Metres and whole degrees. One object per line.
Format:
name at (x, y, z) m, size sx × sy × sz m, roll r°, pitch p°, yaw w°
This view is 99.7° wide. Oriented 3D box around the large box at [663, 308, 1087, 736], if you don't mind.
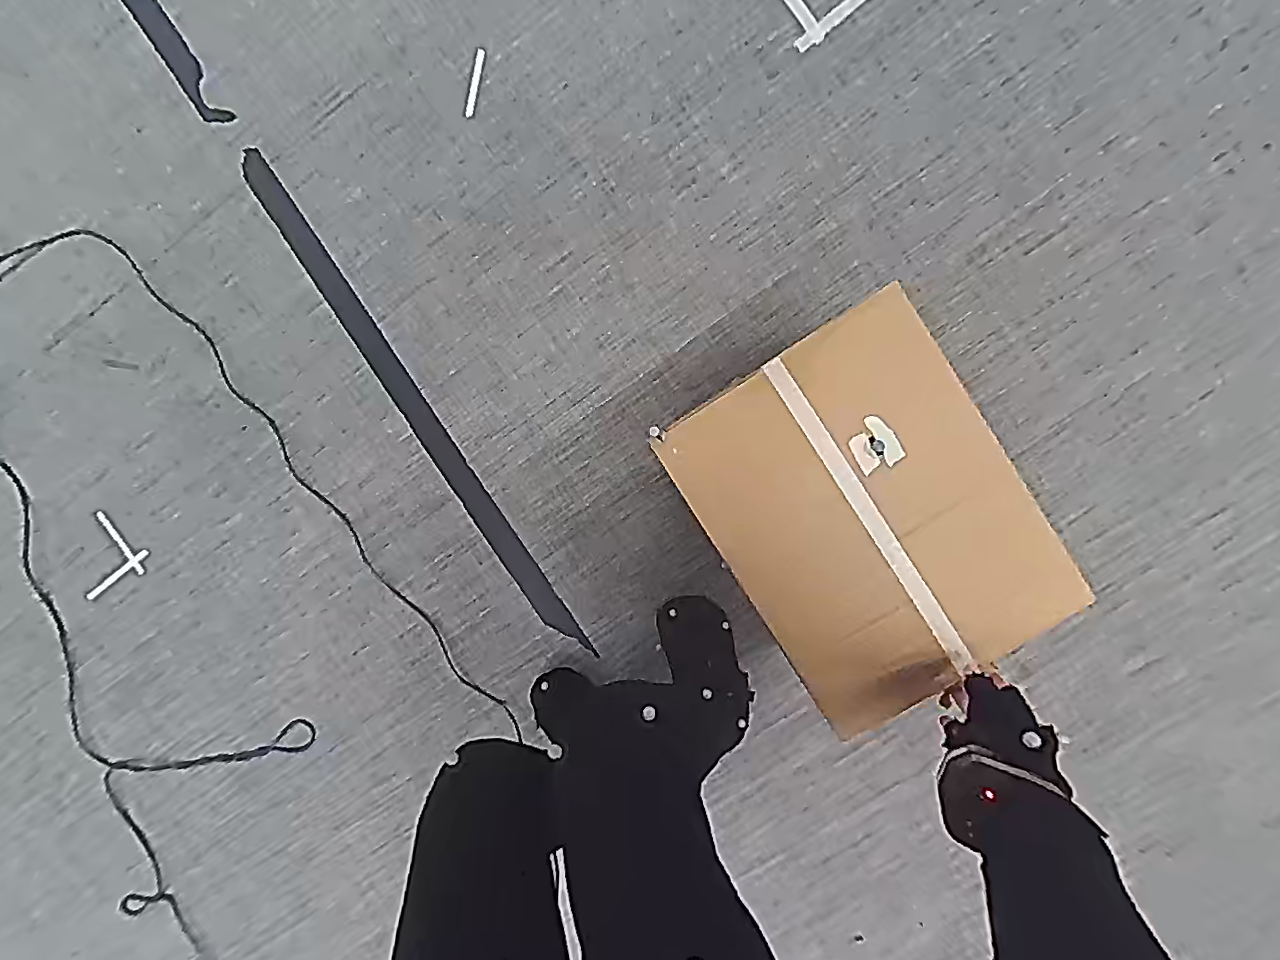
large box at (0.273, 0.046, 0.756) m, size 0.320 × 0.320 × 0.408 m, roll -32°, pitch 90°, yaw 5°
